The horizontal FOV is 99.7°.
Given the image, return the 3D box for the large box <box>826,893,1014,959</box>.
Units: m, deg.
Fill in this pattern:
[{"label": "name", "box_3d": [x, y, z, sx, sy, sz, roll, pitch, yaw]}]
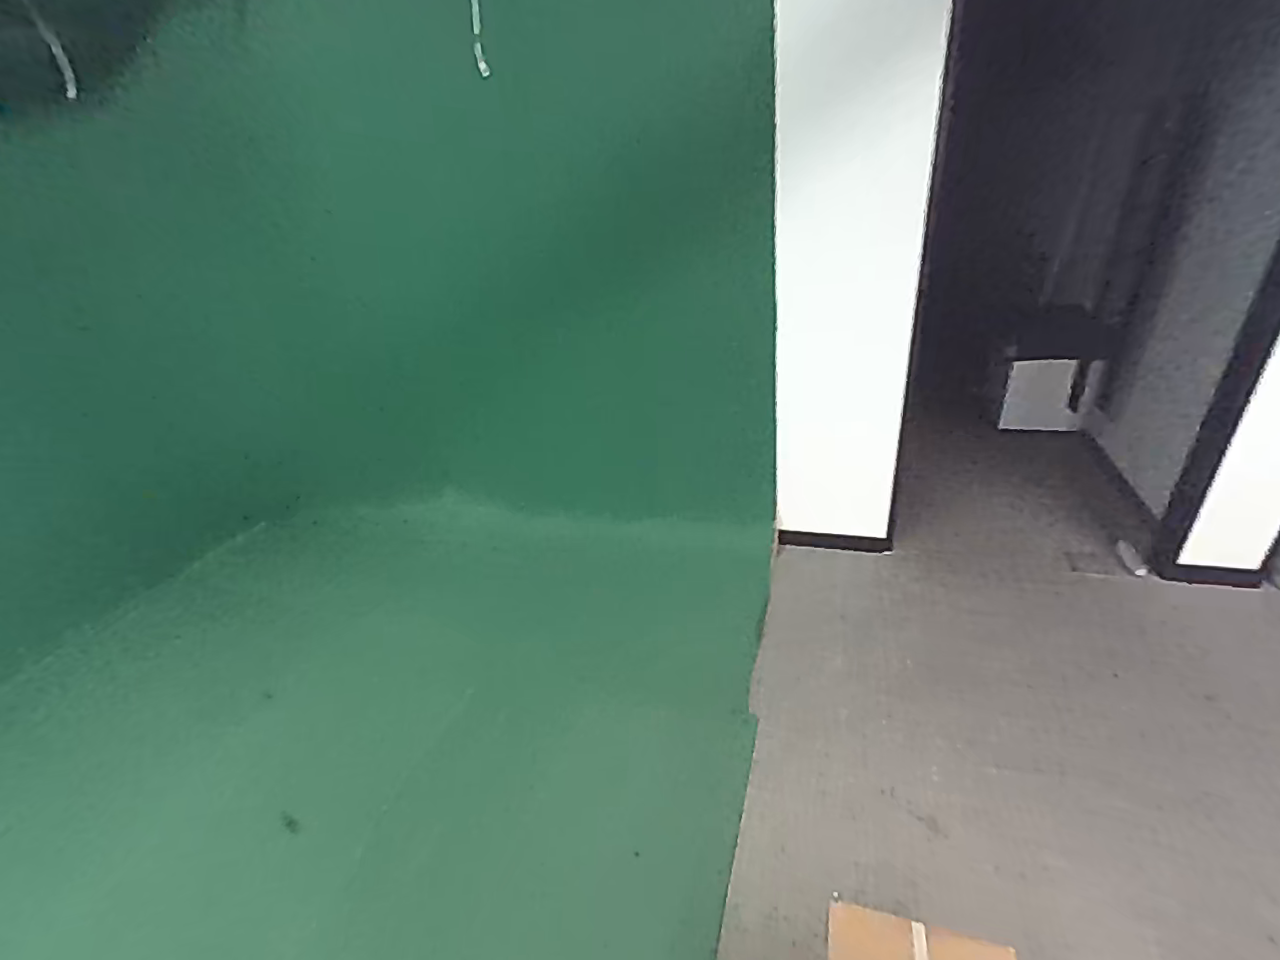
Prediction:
[{"label": "large box", "box_3d": [0.478, 1.041, 0.920, 0.320, 0.320, 0.408, 2, 30, 20]}]
